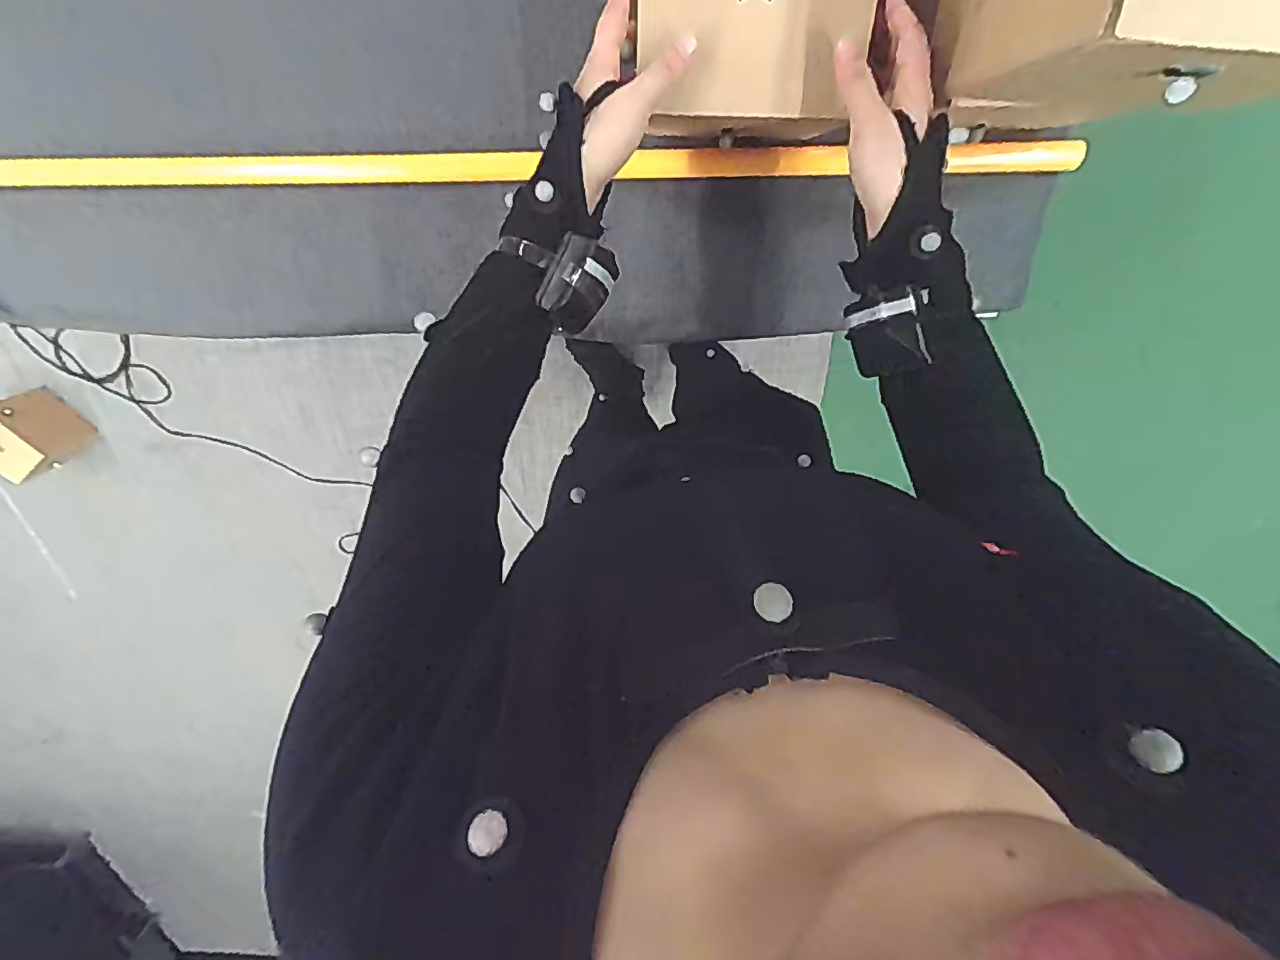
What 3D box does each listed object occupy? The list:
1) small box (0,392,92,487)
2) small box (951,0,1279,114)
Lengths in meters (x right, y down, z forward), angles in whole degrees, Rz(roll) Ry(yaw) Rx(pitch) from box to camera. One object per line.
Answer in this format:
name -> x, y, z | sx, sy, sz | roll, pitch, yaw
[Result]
small box -> -1.713, -0.117, 1.507 | 0.168, 0.176, 0.179 | -32, 112, 18
small box -> 0.299, -0.298, 0.275 | 0.179, 0.176, 0.168 | 5, 119, 1
